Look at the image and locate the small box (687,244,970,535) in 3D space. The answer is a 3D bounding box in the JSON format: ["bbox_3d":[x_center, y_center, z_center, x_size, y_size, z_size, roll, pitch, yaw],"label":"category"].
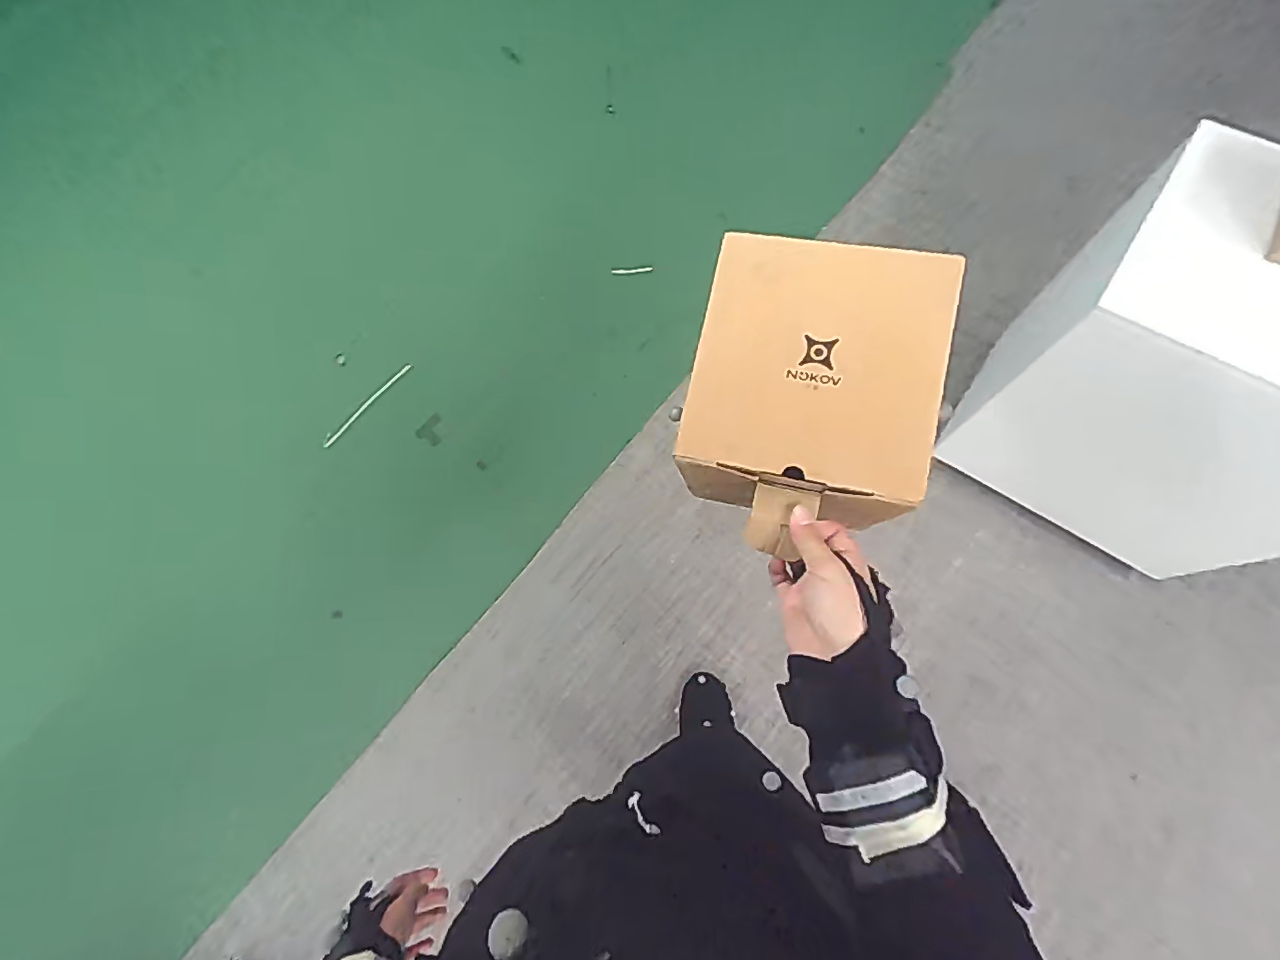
[{"bbox_3d":[0.142,-0.061,0.450,0.168,0.176,0.179,12,82,12],"label":"small box"}]
